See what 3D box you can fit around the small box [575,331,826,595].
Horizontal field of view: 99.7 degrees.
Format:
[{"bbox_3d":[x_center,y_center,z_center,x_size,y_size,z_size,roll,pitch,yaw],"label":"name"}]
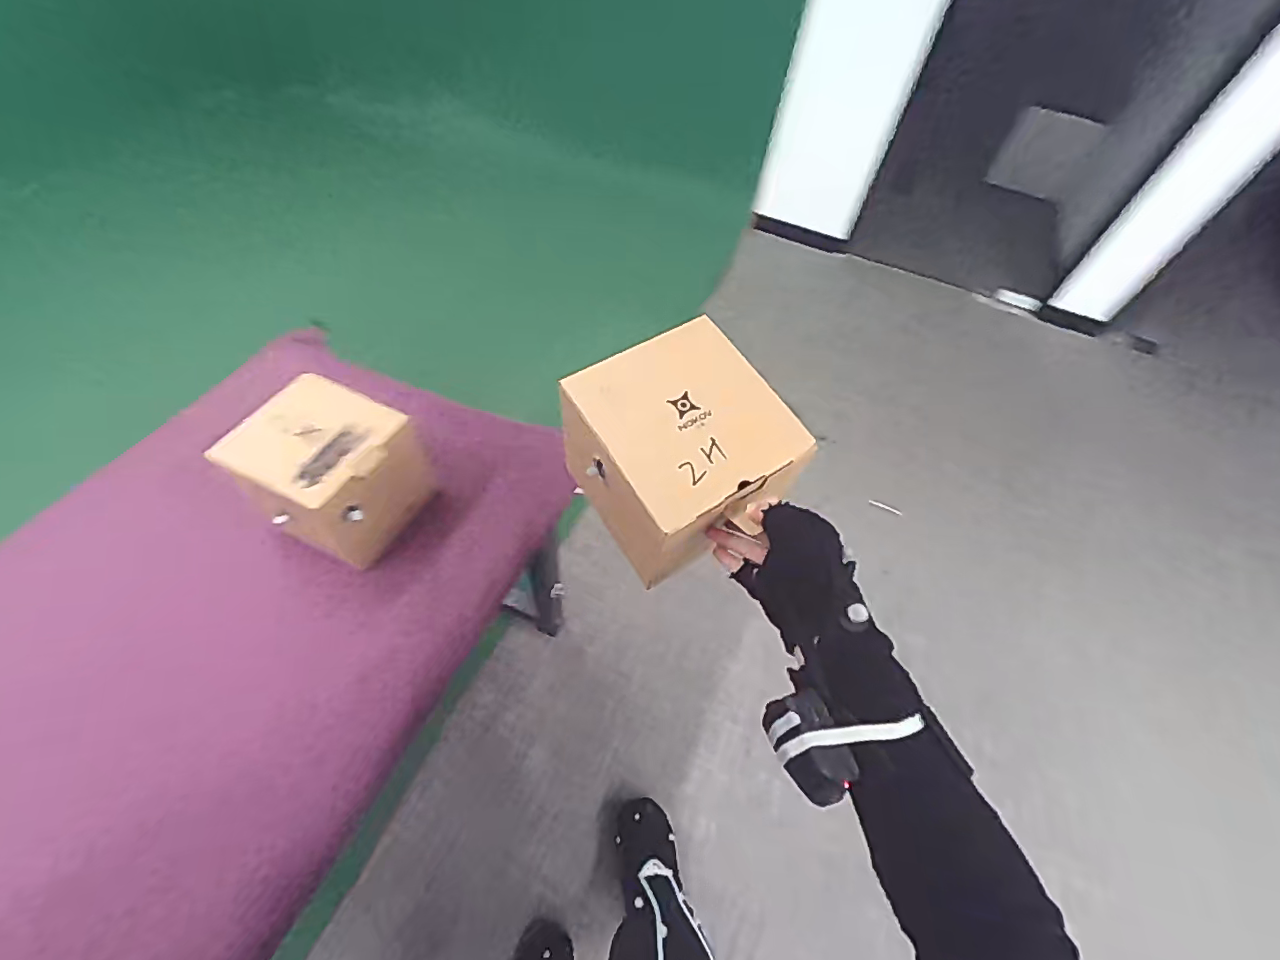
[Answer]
[{"bbox_3d":[0.045,-0.010,0.550,0.168,0.176,0.179,-28,69,-17],"label":"small box"}]
